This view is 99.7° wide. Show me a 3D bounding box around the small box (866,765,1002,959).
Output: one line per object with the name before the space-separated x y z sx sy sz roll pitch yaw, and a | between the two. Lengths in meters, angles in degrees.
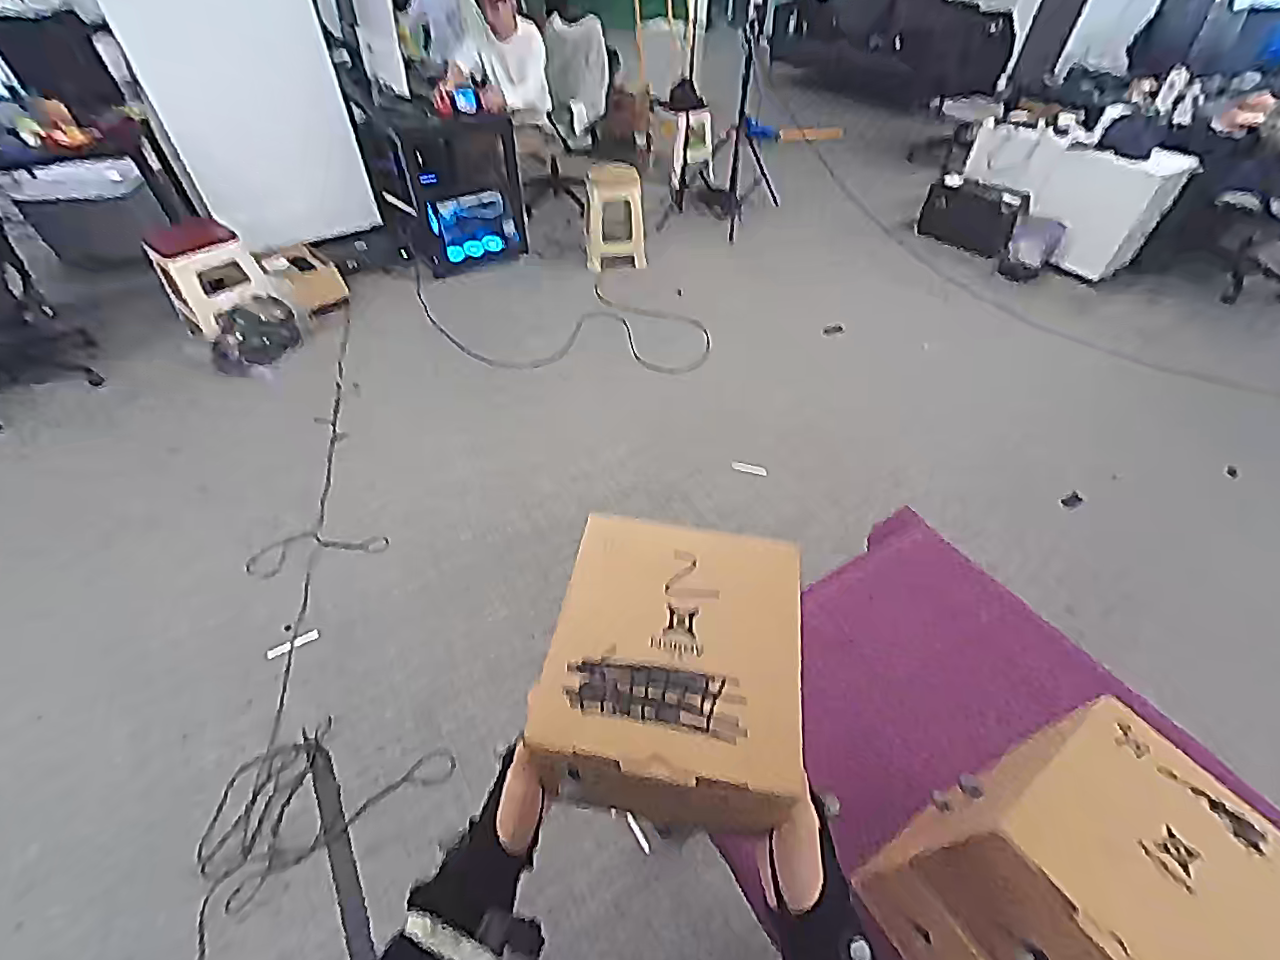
small box | 0.363 0.437 0.559 0.179 0.176 0.168 -23 52 -23

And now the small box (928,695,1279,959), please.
small box | 0.373 0.321 0.443 0.179 0.176 0.168 -25 53 -24
